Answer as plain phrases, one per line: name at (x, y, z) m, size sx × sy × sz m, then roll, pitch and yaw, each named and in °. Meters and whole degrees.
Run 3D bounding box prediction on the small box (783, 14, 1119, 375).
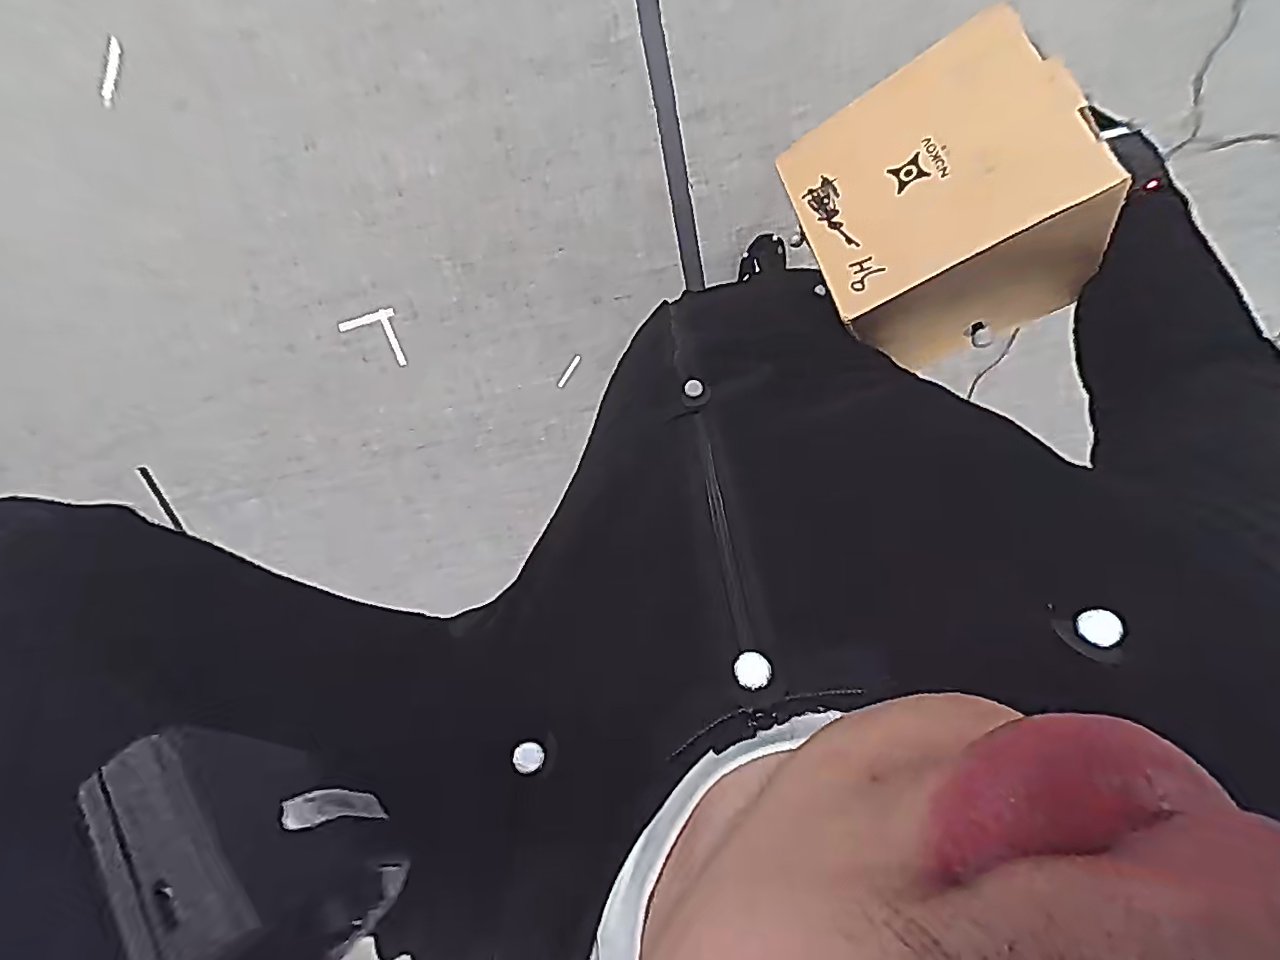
small box at (0.251, -0.217, 0.465) m, size 0.179 × 0.176 × 0.168 m, roll -24°, pitch 69°, yaw 27°
